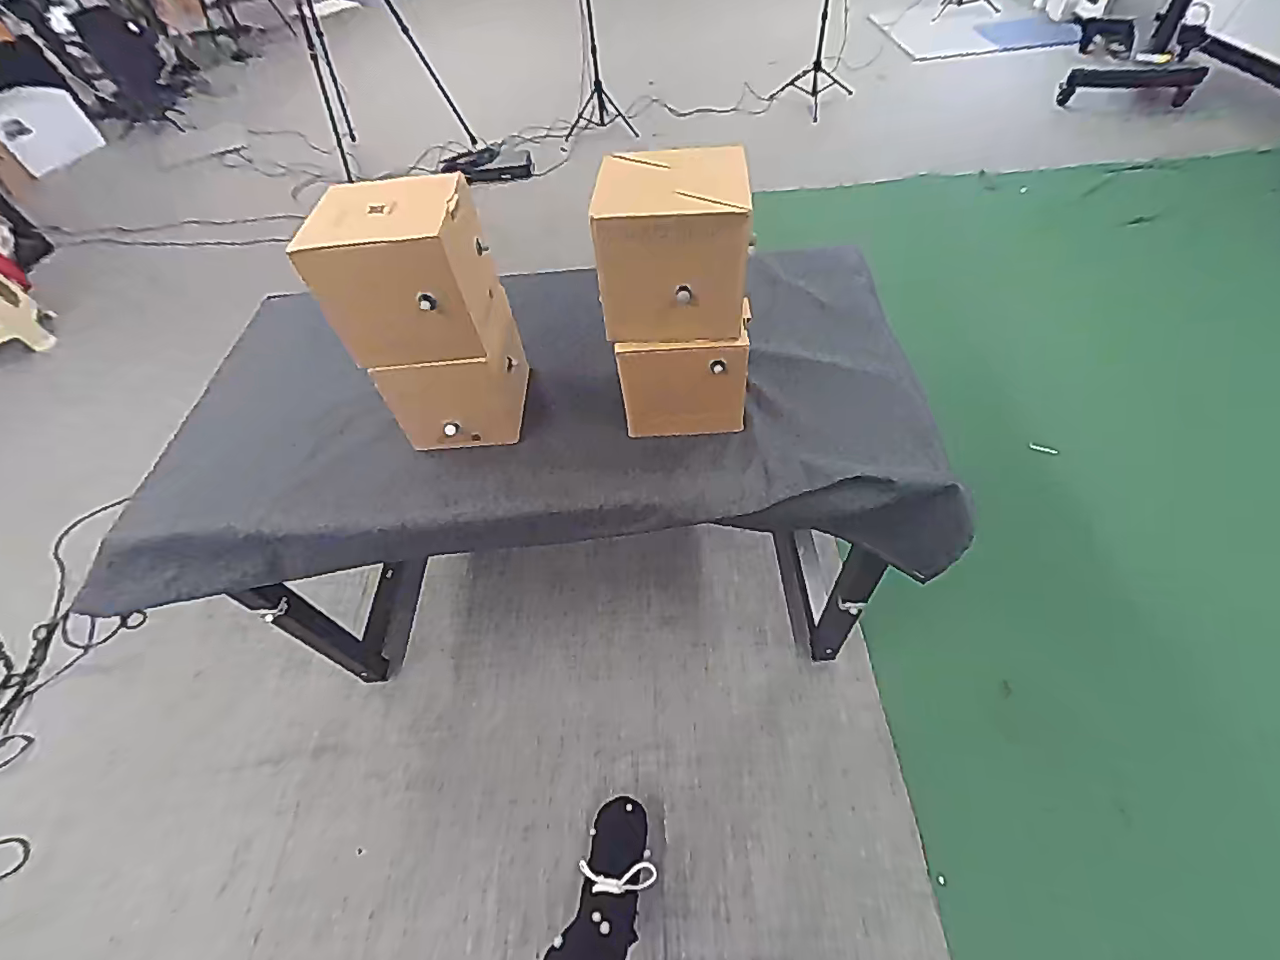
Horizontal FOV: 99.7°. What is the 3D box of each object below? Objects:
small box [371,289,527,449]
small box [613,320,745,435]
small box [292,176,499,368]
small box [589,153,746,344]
[{"bbox_3d":[-0.278,-0.168,0.836,0.168,0.176,0.179,-4,53,3],"label":"small box"},{"bbox_3d":[0.059,-0.181,0.814,0.179,0.176,0.168,-3,52,3],"label":"small box"},{"bbox_3d":[-0.297,-0.266,0.707,0.179,0.176,0.168,-6,51,3],"label":"small box"},{"bbox_3d":[0.041,-0.295,0.691,0.179,0.176,0.168,0,52,6],"label":"small box"}]
